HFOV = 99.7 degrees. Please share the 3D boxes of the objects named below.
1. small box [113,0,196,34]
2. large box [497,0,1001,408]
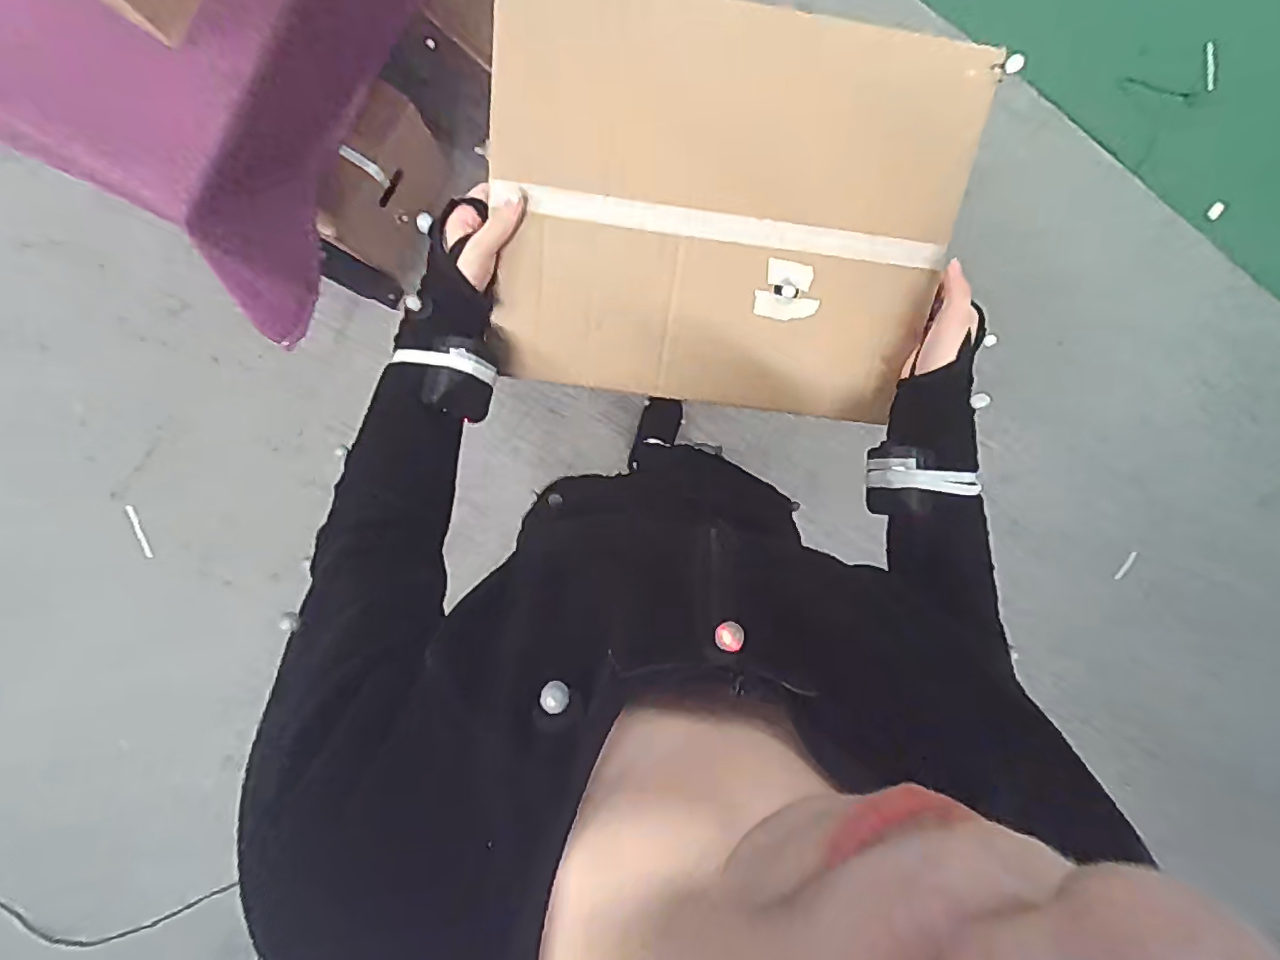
[{"bbox_3d":[-0.555,-0.608,0.531,0.168,0.176,0.179,32,95,-9],"label":"small box"},{"bbox_3d":[0.071,-0.285,0.611,0.408,0.320,0.320,6,112,-5],"label":"large box"}]
